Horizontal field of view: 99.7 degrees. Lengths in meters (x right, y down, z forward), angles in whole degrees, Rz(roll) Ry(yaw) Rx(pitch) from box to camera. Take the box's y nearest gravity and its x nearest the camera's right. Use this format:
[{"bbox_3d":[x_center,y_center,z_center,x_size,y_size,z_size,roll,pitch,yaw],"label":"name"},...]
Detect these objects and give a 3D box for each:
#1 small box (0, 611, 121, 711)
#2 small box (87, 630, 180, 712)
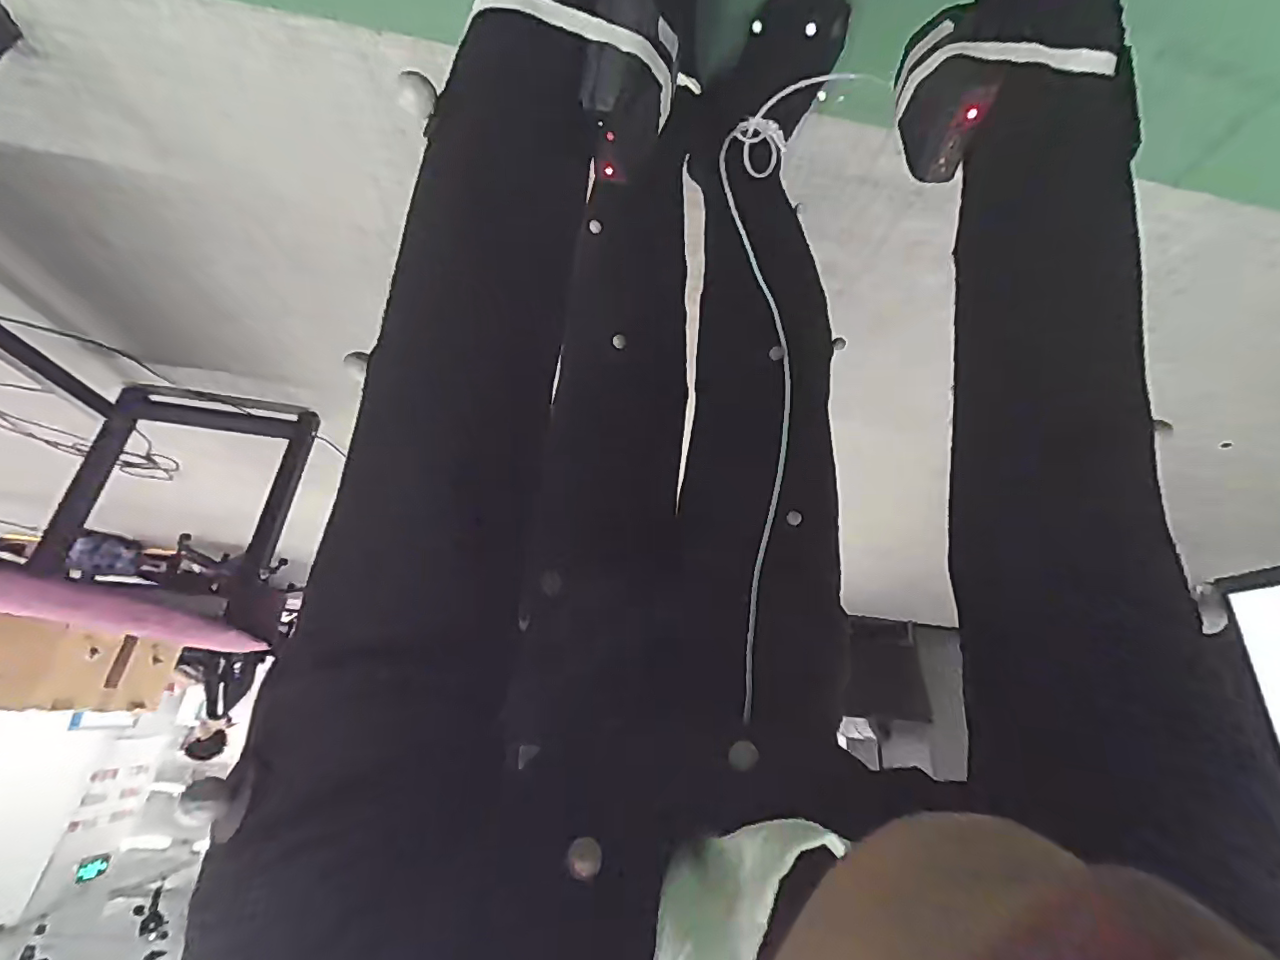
[{"bbox_3d":[-1.213,0.360,1.077,0.179,0.176,0.168,7,156,-7],"label":"small box"},{"bbox_3d":[-1.246,0.443,1.264,0.179,0.176,0.168,8,156,-6],"label":"small box"}]
